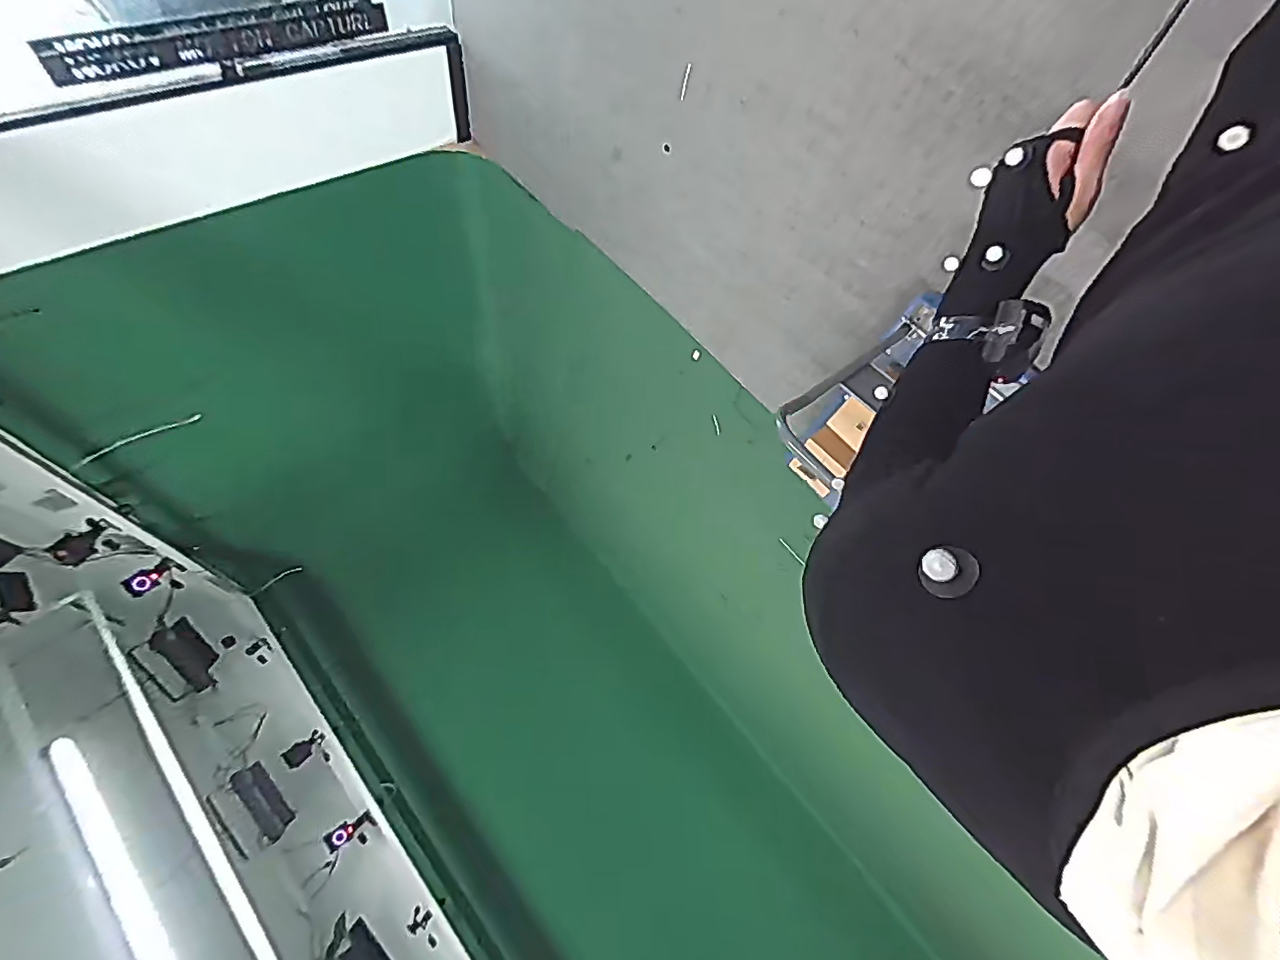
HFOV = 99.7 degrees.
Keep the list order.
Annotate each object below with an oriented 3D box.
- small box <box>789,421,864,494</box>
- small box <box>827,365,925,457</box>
[{"bbox_3d":[0.650,-0.088,1.842,0.168,0.176,0.179,46,151,16],"label":"small box"},{"bbox_3d":[0.706,-0.207,1.614,0.168,0.176,0.179,48,152,14],"label":"small box"}]
